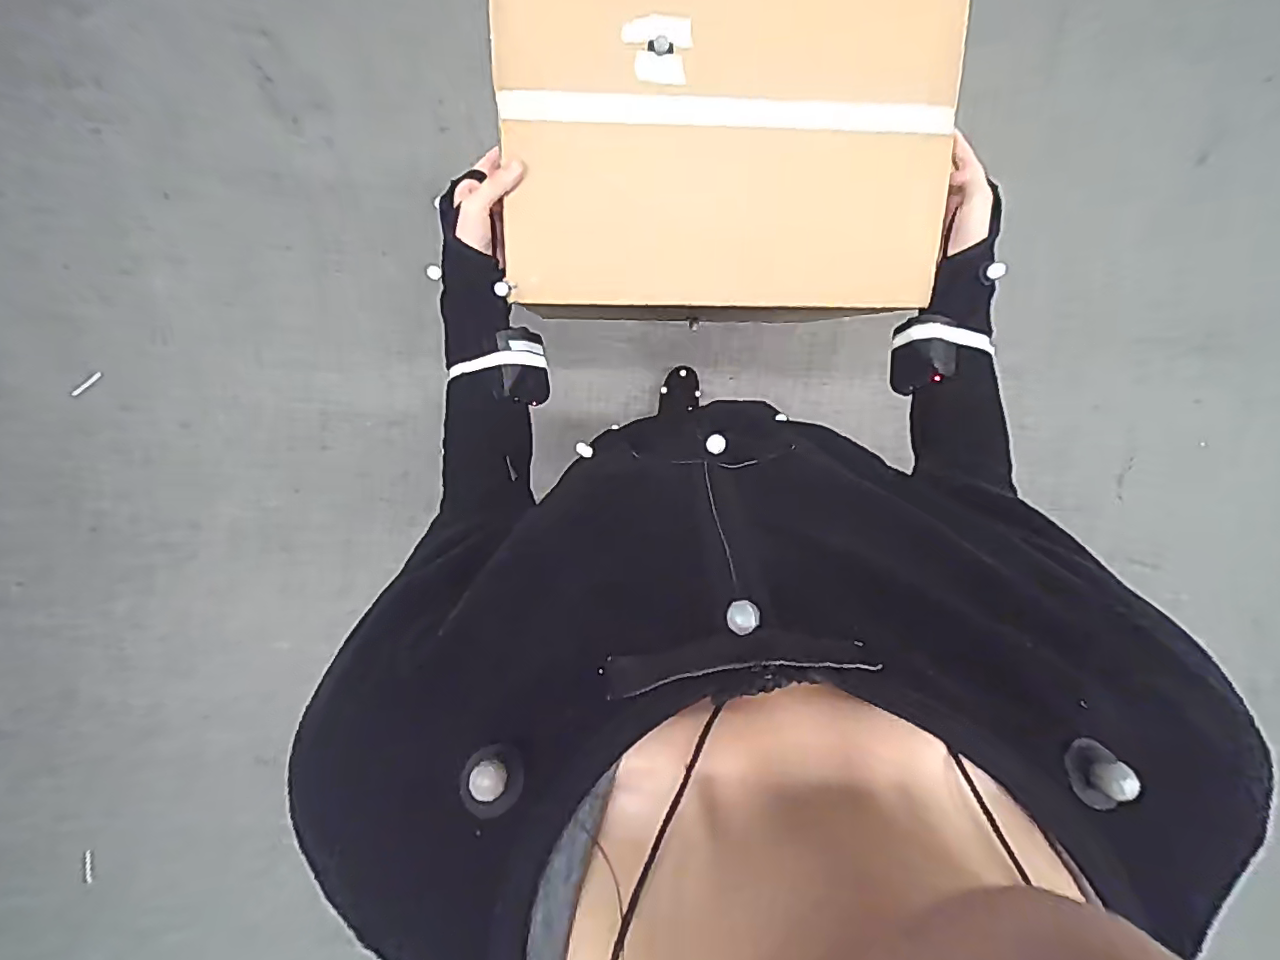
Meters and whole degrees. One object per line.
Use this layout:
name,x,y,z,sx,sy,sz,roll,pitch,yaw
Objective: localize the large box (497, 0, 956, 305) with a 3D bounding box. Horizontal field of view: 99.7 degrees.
large box,0.070,-0.370,0.625,0.408,0.320,0.320,-1,104,-4
